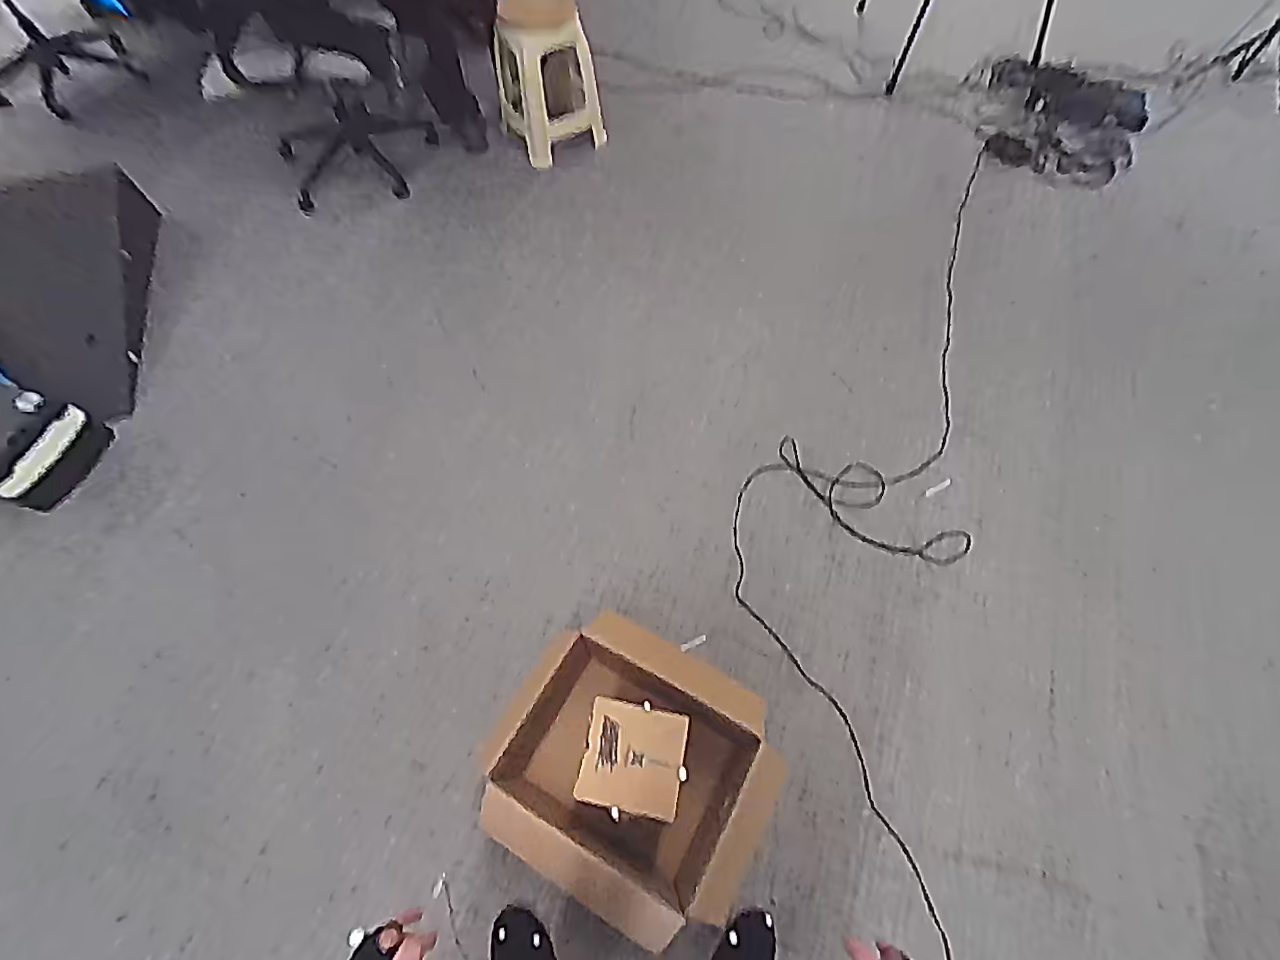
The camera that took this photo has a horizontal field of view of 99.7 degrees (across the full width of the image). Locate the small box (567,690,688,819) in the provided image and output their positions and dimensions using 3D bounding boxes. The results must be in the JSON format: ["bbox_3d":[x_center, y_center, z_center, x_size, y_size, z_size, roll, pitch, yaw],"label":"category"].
[{"bbox_3d":[-0.018,0.507,1.006,0.179,0.176,0.168,13,65,8],"label":"small box"}]
